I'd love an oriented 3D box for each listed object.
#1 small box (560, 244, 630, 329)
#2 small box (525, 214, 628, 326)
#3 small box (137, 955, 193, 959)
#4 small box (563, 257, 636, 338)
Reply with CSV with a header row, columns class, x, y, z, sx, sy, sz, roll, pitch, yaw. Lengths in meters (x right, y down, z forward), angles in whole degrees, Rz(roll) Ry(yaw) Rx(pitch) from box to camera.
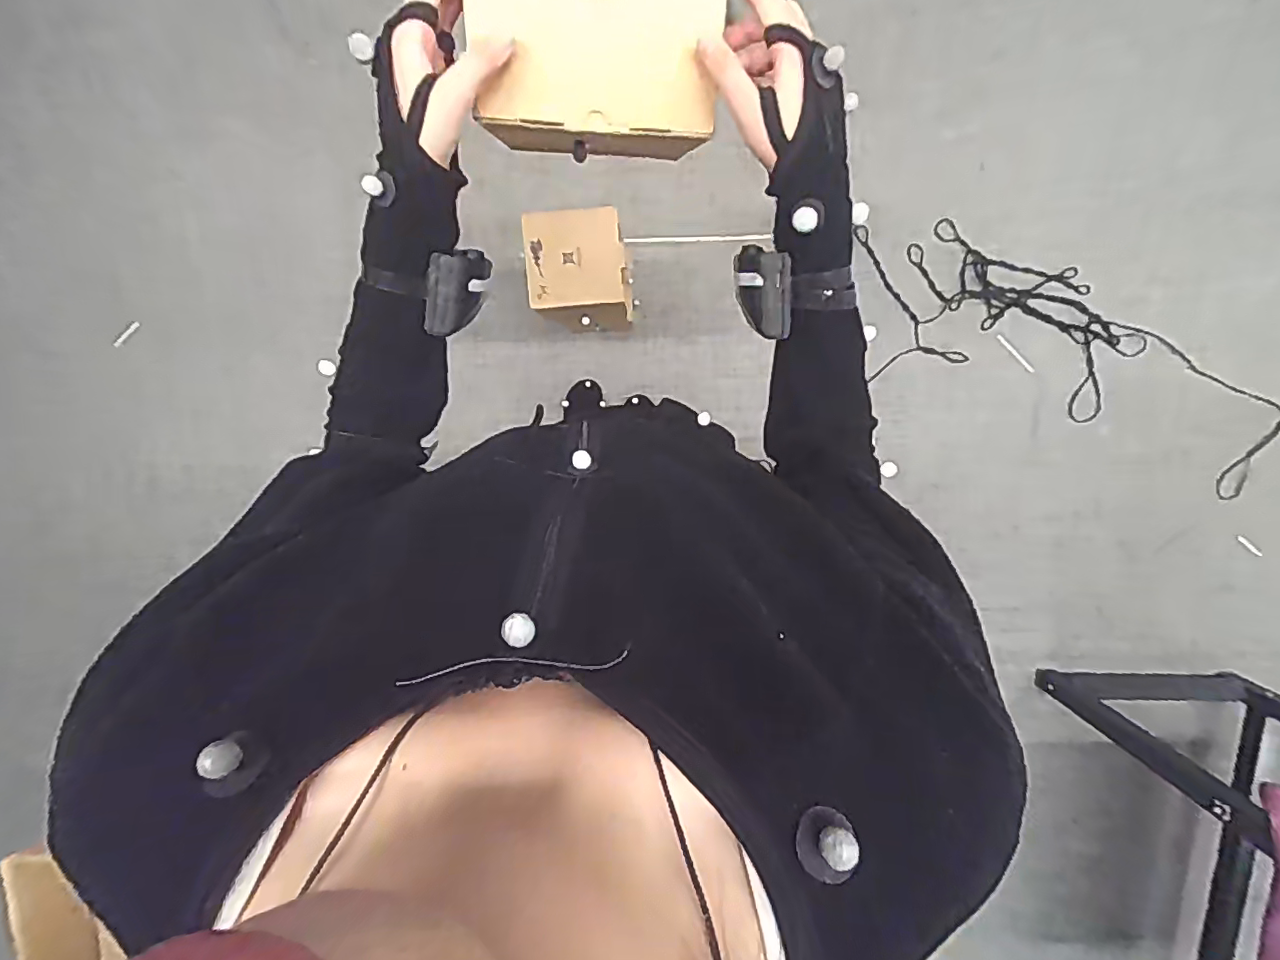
class,x,y,z,sx,sy,sz,roll,pitch,yaw
small box,-0.115,-0.432,1.203,0.179,0.176,0.168,-2,99,2
small box,-0.113,-0.396,1.043,0.179,0.176,0.168,-4,98,1
small box,-1.069,1.178,1.167,0.168,0.176,0.179,2,97,1
small box,-0.101,-0.453,1.365,0.179,0.176,0.168,-2,98,1
